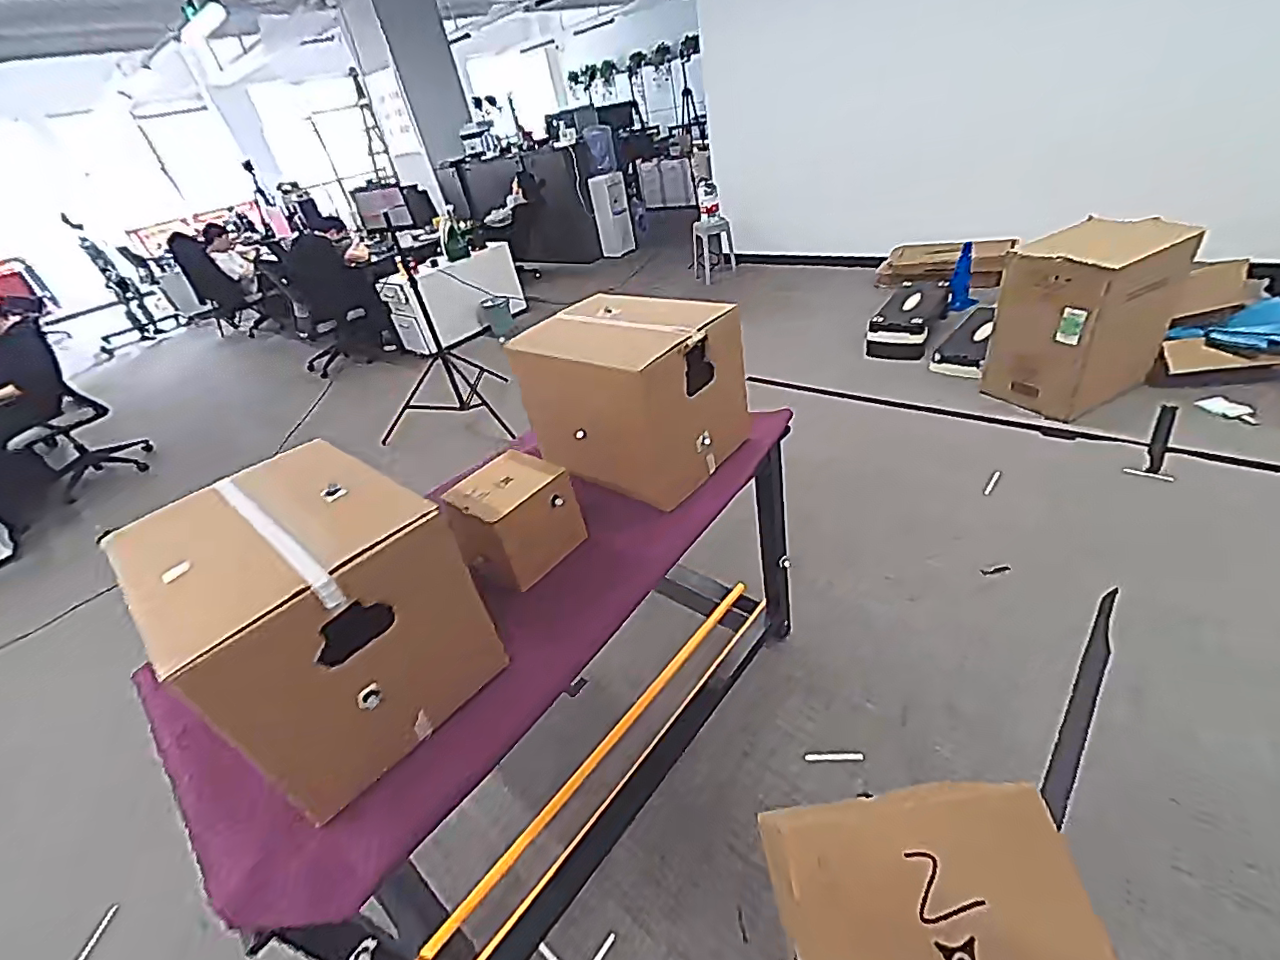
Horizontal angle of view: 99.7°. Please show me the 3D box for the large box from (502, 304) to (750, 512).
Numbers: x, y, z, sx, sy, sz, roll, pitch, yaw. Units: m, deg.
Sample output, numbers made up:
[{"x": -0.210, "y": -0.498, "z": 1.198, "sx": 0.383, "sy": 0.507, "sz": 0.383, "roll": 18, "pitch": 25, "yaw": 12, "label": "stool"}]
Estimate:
[{"x": -0.018, "y": -0.178, "z": 1.189, "sx": 0.408, "sy": 0.320, "sz": 0.320, "roll": 18, "pitch": 45, "yaw": 39, "label": "large box"}]

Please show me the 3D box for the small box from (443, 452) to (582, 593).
[{"x": -0.229, "y": 0.076, "z": 1.019, "sx": 0.168, "sy": 0.176, "sz": 0.179, "roll": 18, "pitch": 46, "yaw": 38, "label": "small box"}]
